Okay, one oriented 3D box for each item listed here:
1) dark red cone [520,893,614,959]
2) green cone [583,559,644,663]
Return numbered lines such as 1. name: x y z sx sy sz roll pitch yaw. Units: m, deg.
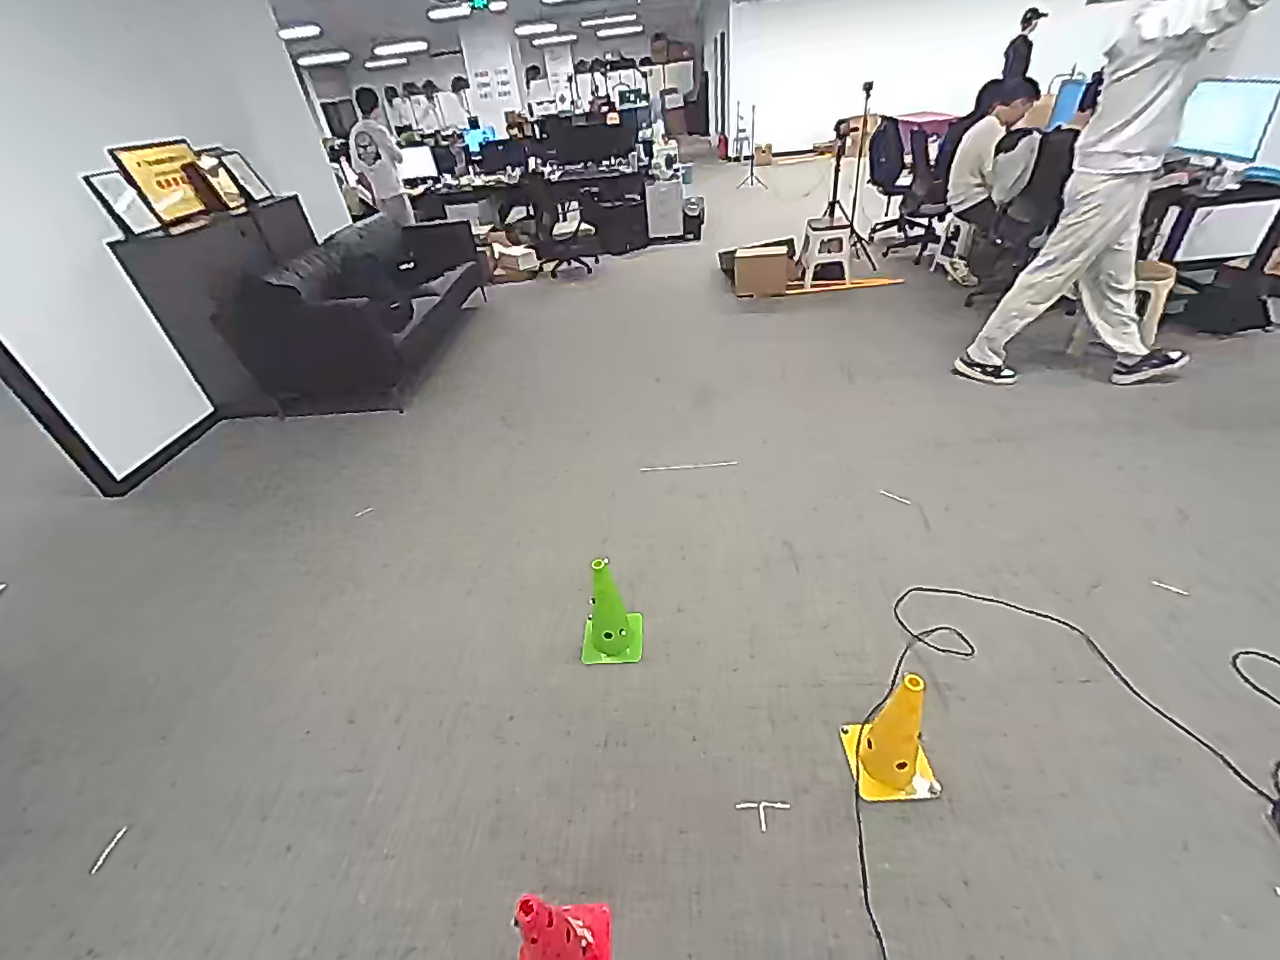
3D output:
1. dark red cone: -0.172 0.886 1.050 0.202 0.394 0.201 -7 37 1
2. green cone: -0.103 0.399 1.740 0.202 0.368 0.200 -4 37 4
